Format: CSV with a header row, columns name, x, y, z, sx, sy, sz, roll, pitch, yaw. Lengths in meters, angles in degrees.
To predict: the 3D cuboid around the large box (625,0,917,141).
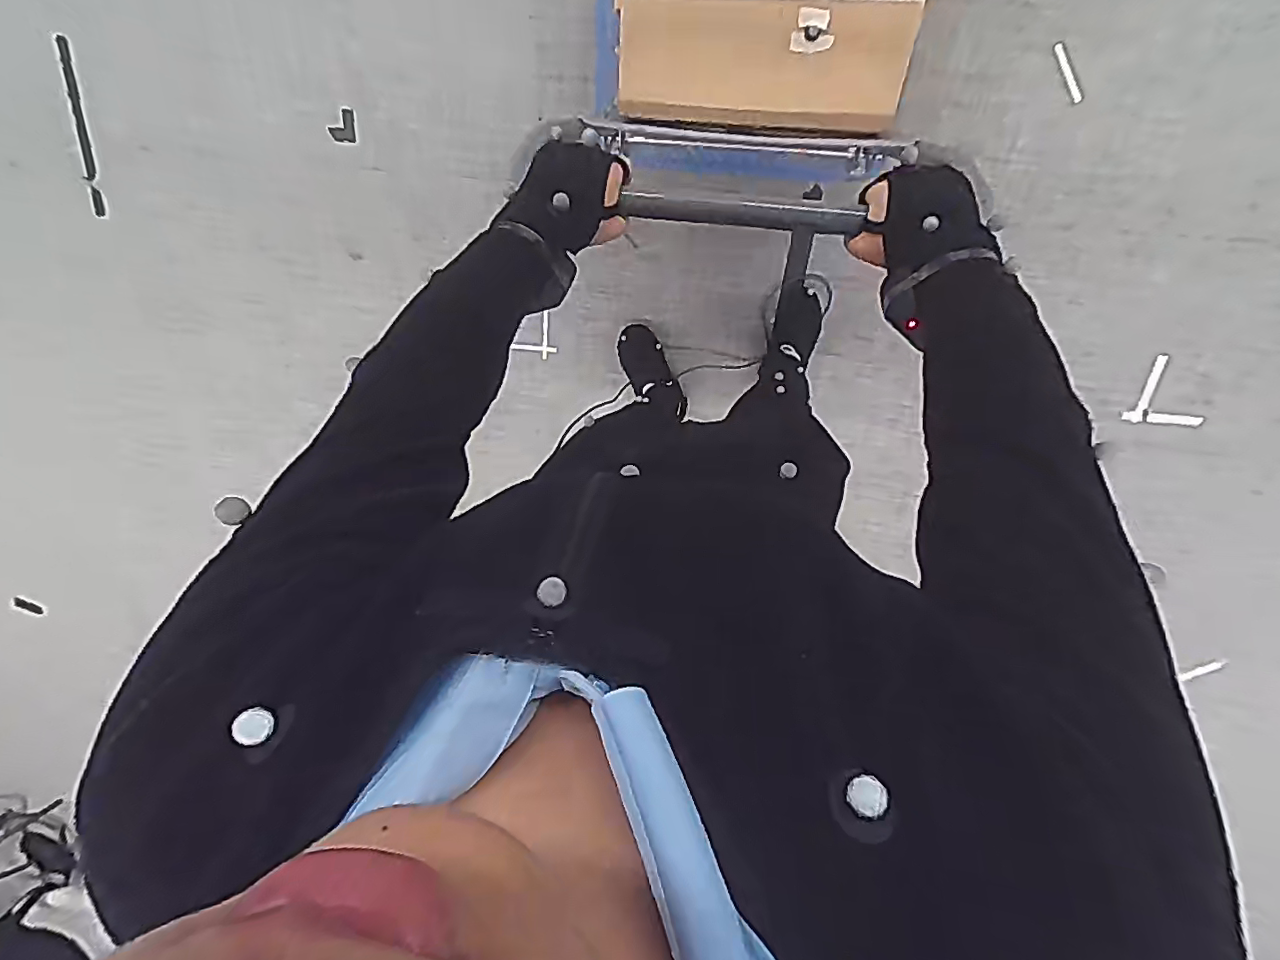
name,x,y,z,sx,sy,sz,roll,pitch,yaw
large box,0.195,-0.741,0.870,0.408,0.320,0.320,6,121,5
